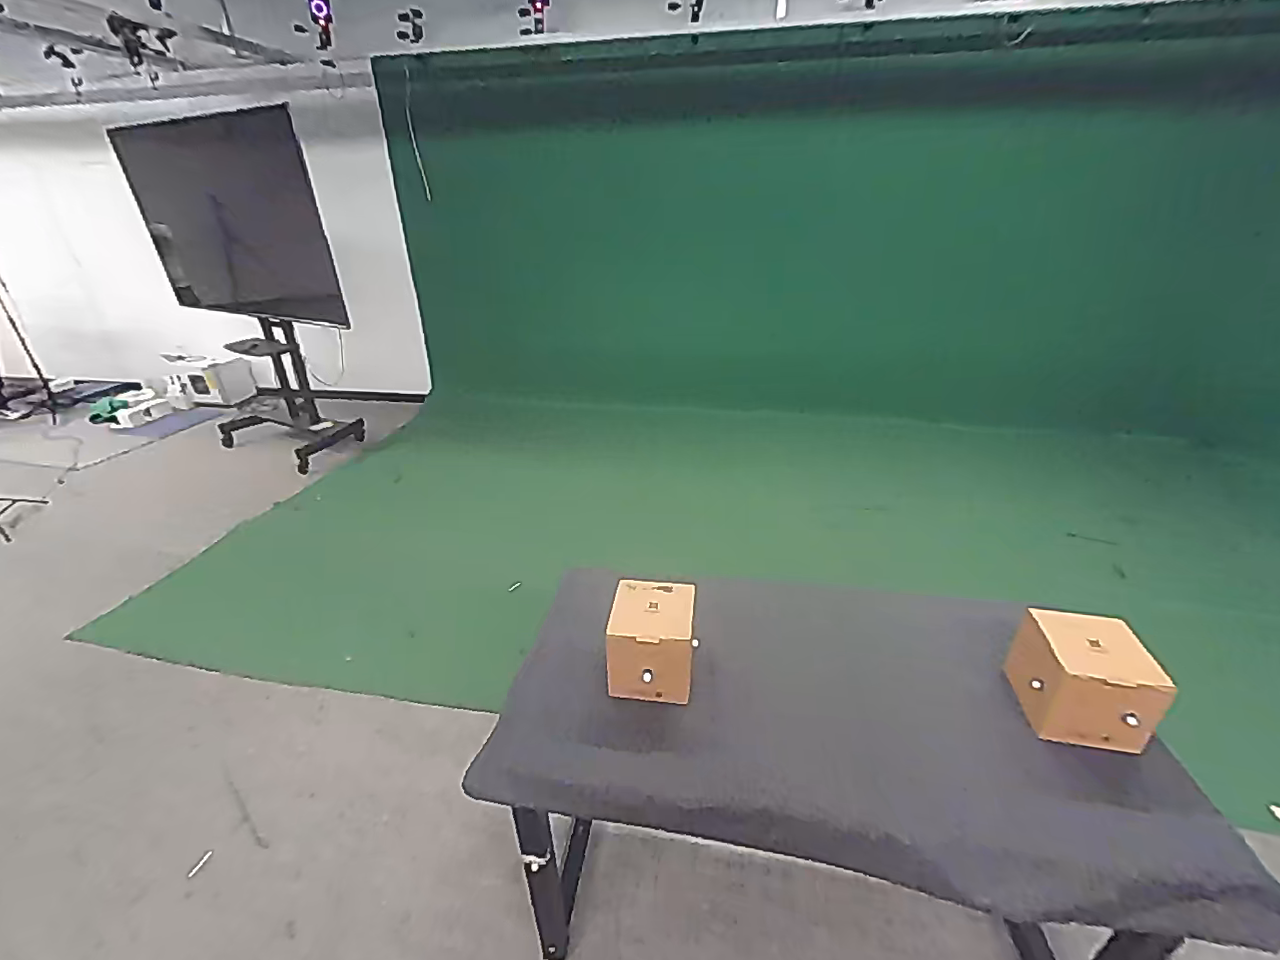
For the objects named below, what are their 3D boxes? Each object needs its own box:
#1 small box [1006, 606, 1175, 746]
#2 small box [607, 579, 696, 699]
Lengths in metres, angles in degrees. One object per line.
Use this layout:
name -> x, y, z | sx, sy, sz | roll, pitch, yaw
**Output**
small box -> 0.829, 0.366, 1.018 | 0.168, 0.176, 0.179 | 5, 27, 11
small box -> 0.030, 0.331, 1.131 | 0.168, 0.176, 0.179 | 3, 28, 7
